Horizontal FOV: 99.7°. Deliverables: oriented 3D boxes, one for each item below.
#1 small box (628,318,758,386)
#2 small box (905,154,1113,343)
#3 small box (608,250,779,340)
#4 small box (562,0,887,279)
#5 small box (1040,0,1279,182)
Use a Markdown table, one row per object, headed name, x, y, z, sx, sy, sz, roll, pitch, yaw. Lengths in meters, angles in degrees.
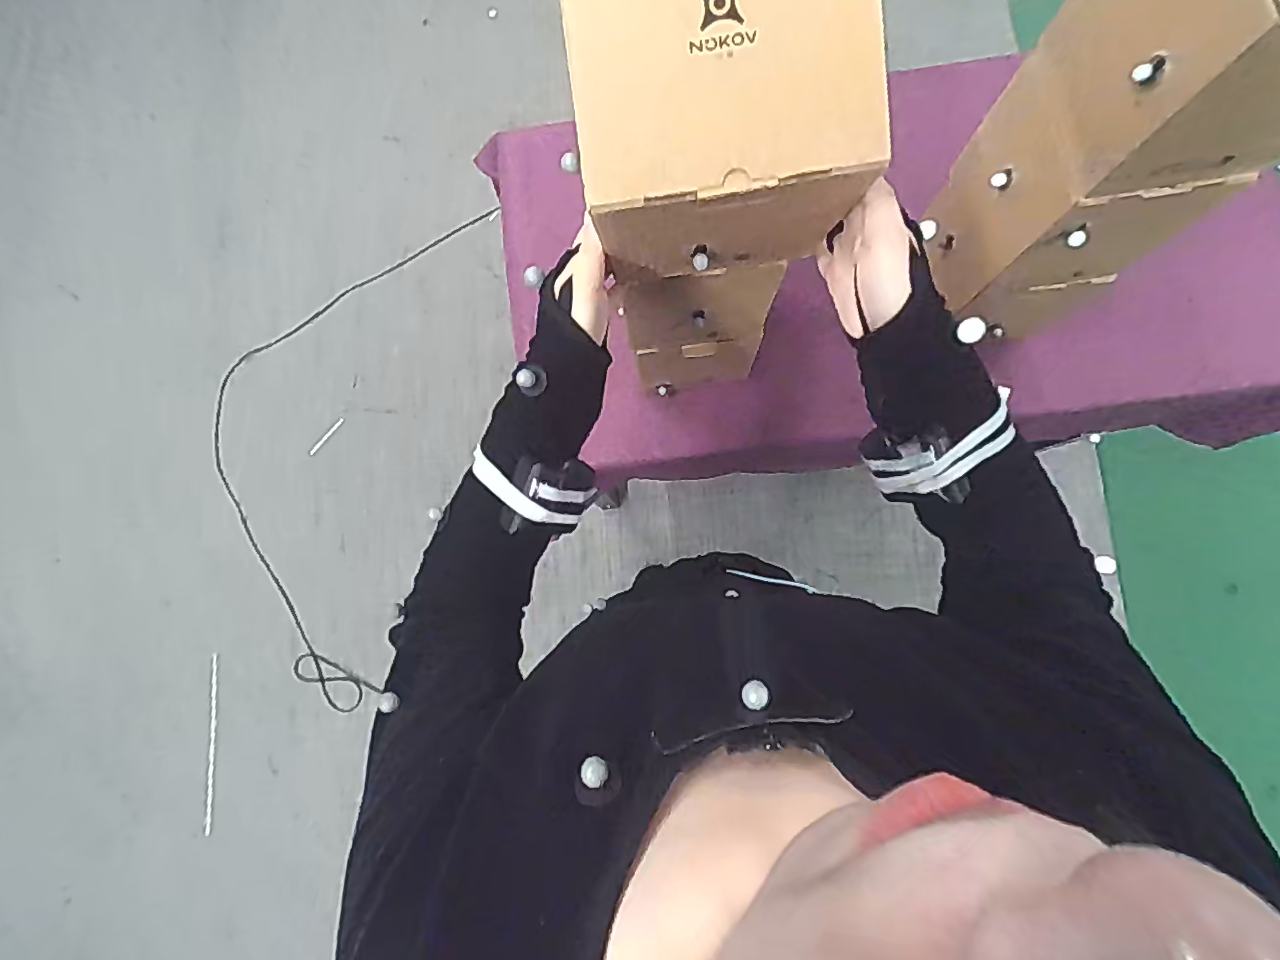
| name | x | y | z | sx | sy | sz | roll | pitch | yaw |
| --- | --- | --- | --- | --- | --- | --- | --- | --- | --- |
| small box | 0.064 | -0.243 | 0.769 | 0.168 | 0.176 | 0.179 | -8 | 80 | 2 |
| small box | 0.492 | -0.310 | 0.752 | 0.168 | 0.176 | 0.179 | -5 | 82 | 3 |
| small box | 0.051 | -0.268 | 0.607 | 0.168 | 0.176 | 0.179 | -6 | 82 | 2 |
| small box | 0.044 | -0.250 | 0.359 | 0.168 | 0.176 | 0.179 | -7 | 99 | 4 |
| small box | 0.469 | -0.367 | 0.430 | 0.168 | 0.176 | 0.179 | -8 | 80 | 2 |
